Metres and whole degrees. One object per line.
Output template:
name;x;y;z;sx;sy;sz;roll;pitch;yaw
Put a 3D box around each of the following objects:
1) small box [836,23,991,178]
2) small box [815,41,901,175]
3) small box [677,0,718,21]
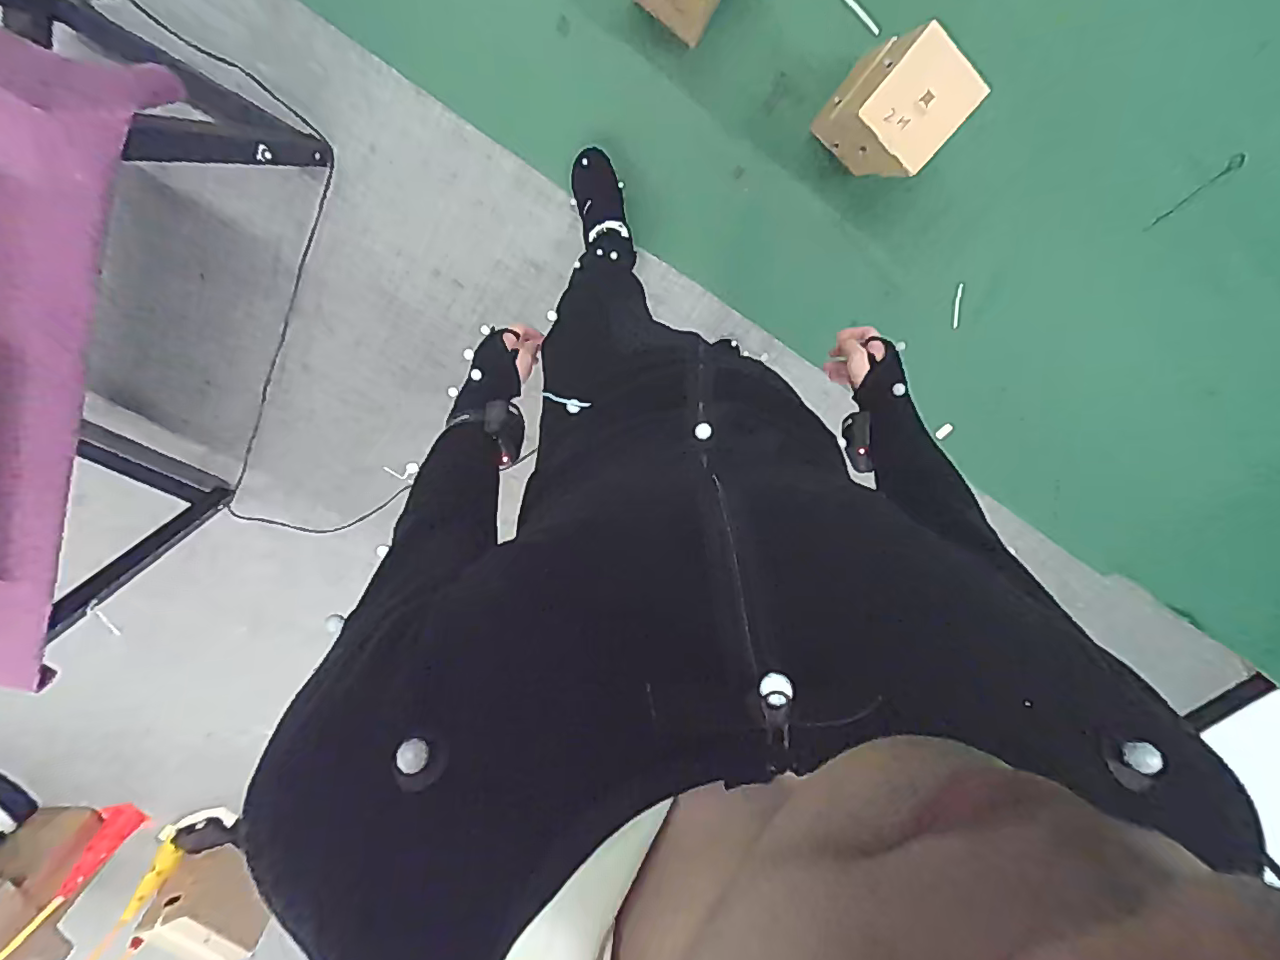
small box;0.516;-0.719;1.047;0.168;0.176;0.179;35;114;-17
small box;0.517;-0.805;1.188;0.168;0.176;0.179;33;115;-17
small box;0.104;-0.947;0.925;0.168;0.176;0.179;33;113;-16
